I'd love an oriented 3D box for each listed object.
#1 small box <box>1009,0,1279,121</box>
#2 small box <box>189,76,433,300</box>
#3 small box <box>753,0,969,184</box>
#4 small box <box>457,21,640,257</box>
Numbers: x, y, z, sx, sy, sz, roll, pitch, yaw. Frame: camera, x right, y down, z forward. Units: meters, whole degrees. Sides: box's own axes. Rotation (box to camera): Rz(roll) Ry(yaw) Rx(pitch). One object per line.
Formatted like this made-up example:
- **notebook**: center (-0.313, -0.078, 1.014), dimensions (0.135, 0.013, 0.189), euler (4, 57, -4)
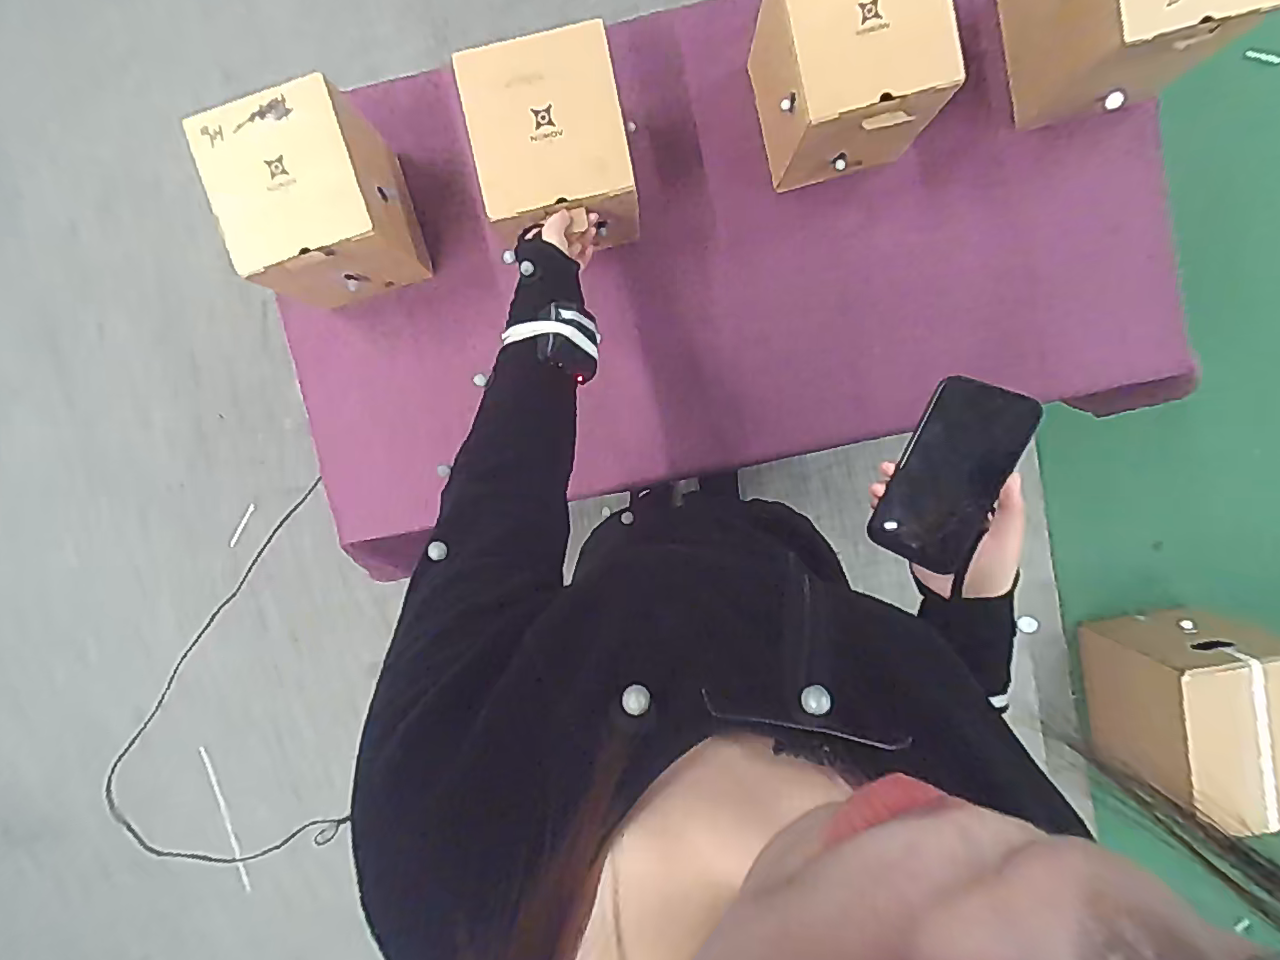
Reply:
- **small box**: center (0.550, -0.552, 0.605), dimensions (0.168, 0.176, 0.179), euler (-12, 95, 5)
- **small box**: center (-0.384, -0.337, 0.668), dimensions (0.168, 0.176, 0.179), euler (-17, 96, 3)
- **small box**: center (0.240, -0.486, 0.629), dimensions (0.168, 0.176, 0.179), euler (-14, 95, 4)
- **small box**: center (-0.096, -0.387, 0.653), dimensions (0.168, 0.176, 0.179), euler (-11, 95, 2)
